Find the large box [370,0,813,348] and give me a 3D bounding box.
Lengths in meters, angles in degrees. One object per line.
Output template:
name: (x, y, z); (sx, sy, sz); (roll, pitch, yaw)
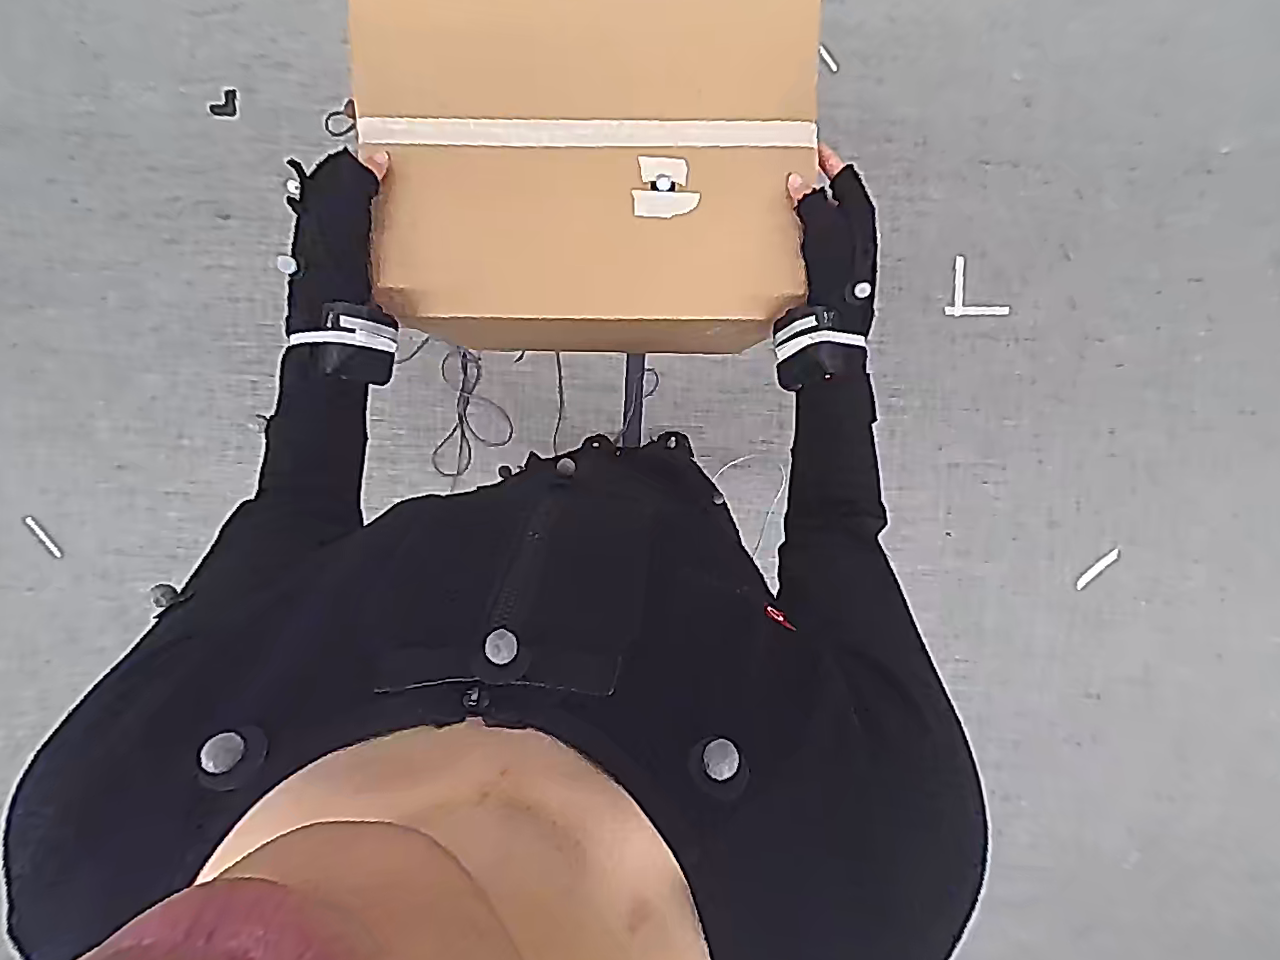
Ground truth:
large box: (-0.046, -0.335, 0.646); (0.408, 0.320, 0.320); (0, 99, -1)
